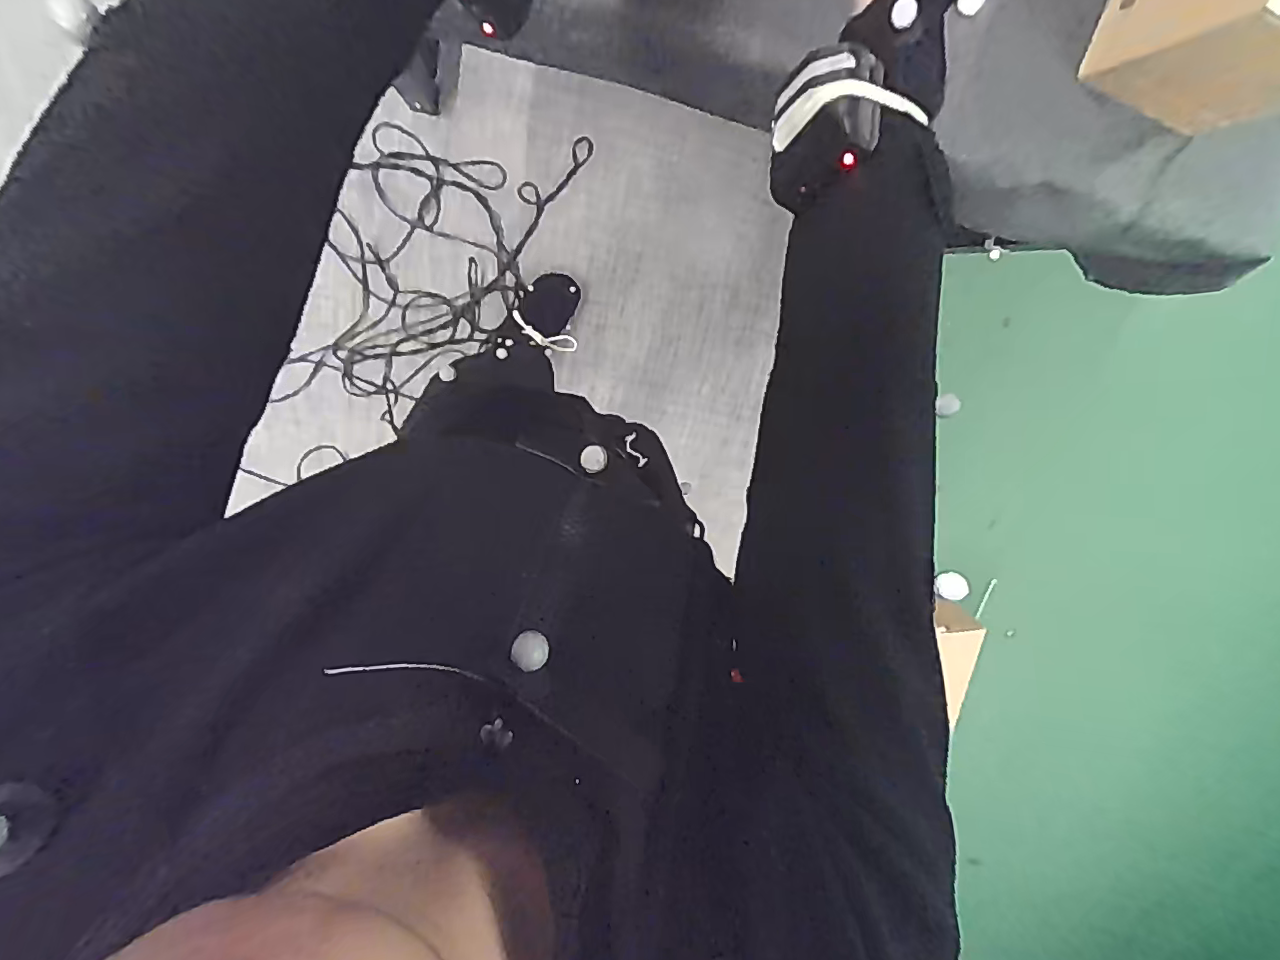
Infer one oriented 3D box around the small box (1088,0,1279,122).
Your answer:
[{"bbox_3d":[0.570,-0.454,0.486,0.179,0.176,0.168,11,109,-15],"label":"small box"}]
